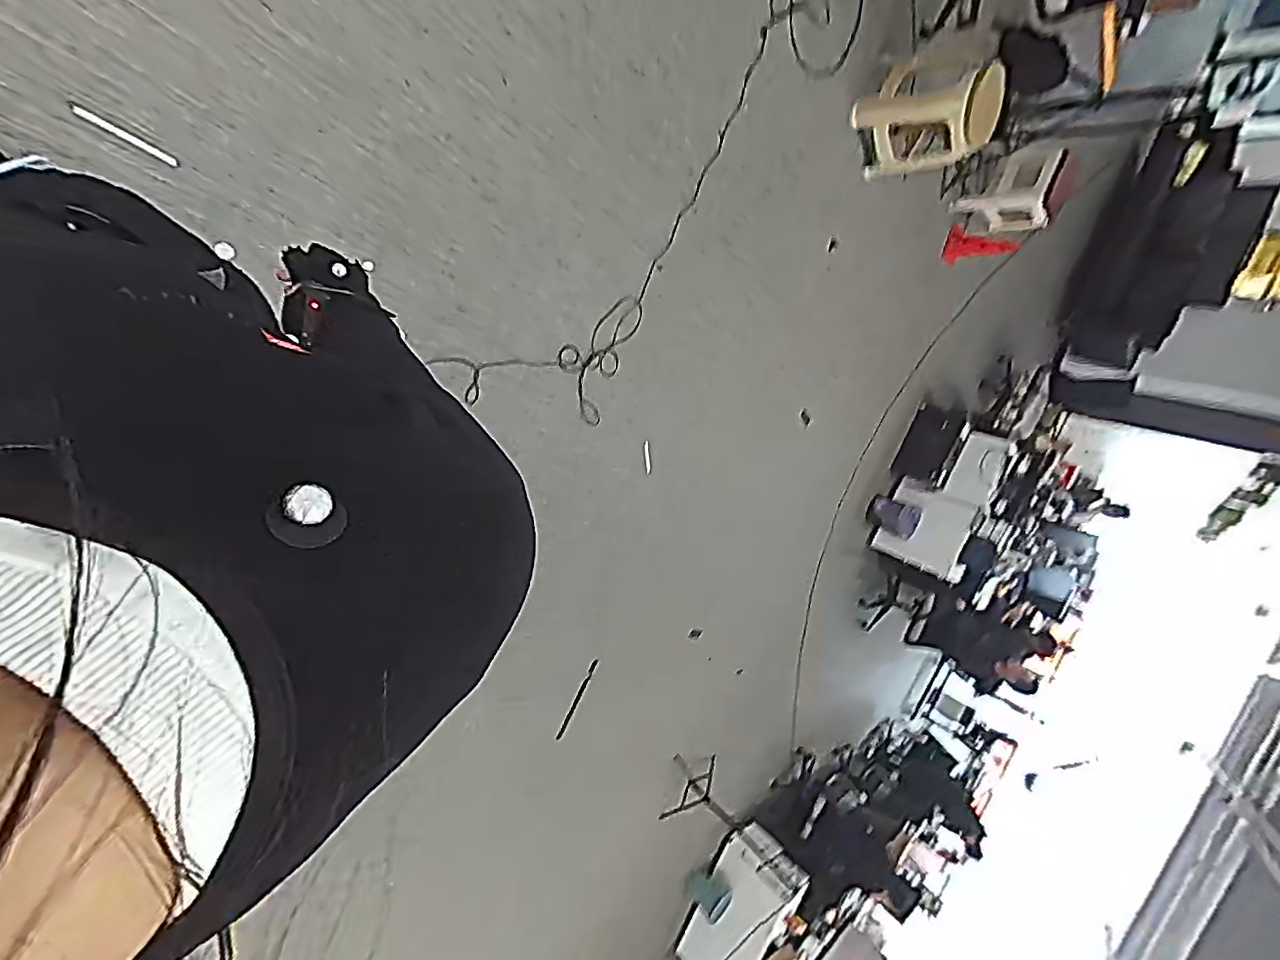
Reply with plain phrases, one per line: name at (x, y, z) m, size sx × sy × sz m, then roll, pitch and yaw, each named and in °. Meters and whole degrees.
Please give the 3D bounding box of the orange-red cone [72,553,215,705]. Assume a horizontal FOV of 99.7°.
orange-red cone at (-0.983, 0.325, 1.090) m, size 0.199 × 0.360 × 0.198 m, roll 28°, pitch 91°, yaw -49°
